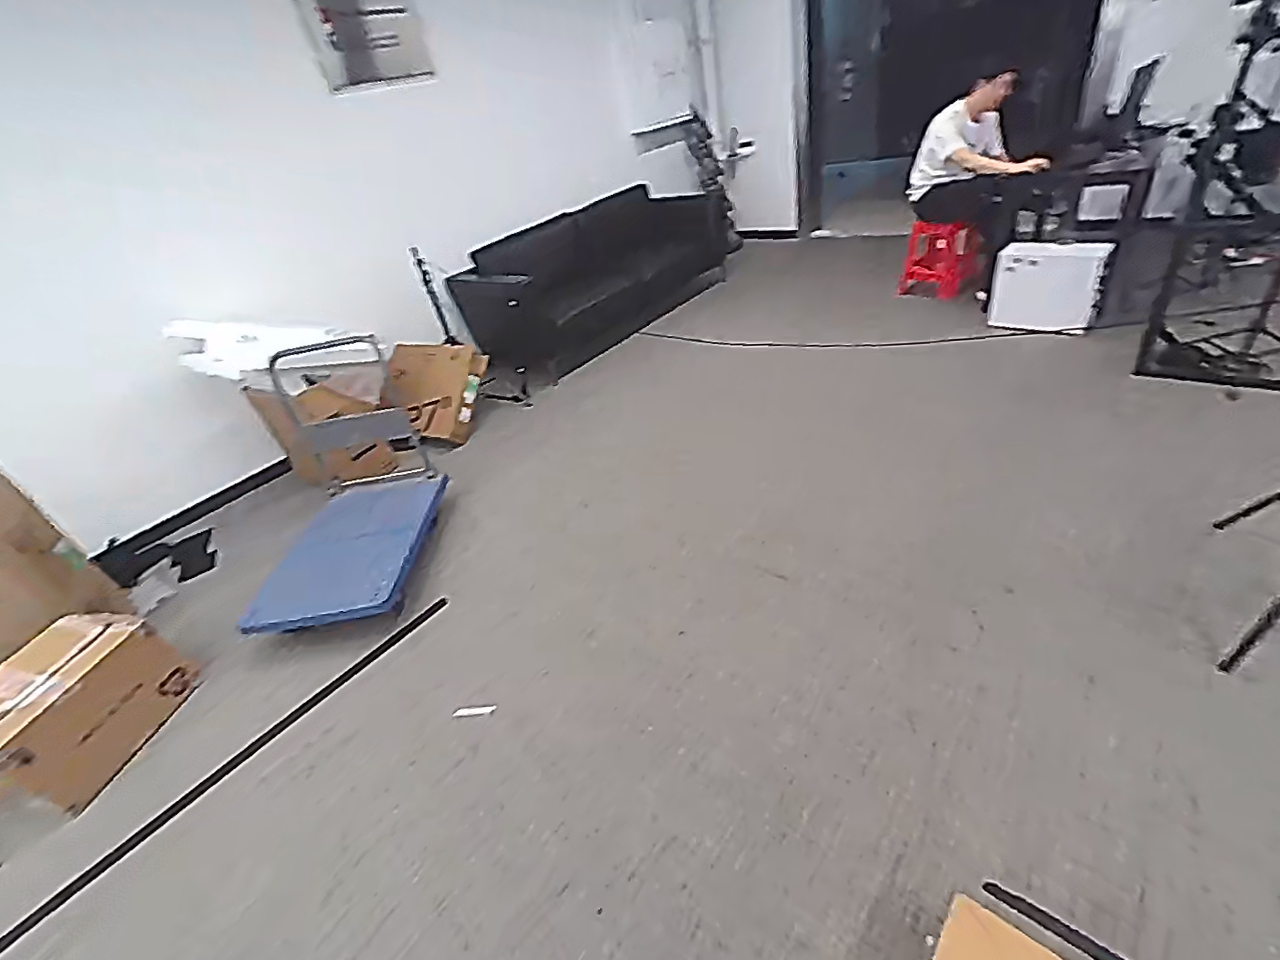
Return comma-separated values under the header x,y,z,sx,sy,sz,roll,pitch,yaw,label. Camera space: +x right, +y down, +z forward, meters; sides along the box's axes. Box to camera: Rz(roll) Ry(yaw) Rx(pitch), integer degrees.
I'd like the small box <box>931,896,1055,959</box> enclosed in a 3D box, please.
x,y,z,sx,sy,sz,roll,pitch,yaw,label
0.603,0.879,0.931,0.179,0.176,0.168,20,46,39,small box
